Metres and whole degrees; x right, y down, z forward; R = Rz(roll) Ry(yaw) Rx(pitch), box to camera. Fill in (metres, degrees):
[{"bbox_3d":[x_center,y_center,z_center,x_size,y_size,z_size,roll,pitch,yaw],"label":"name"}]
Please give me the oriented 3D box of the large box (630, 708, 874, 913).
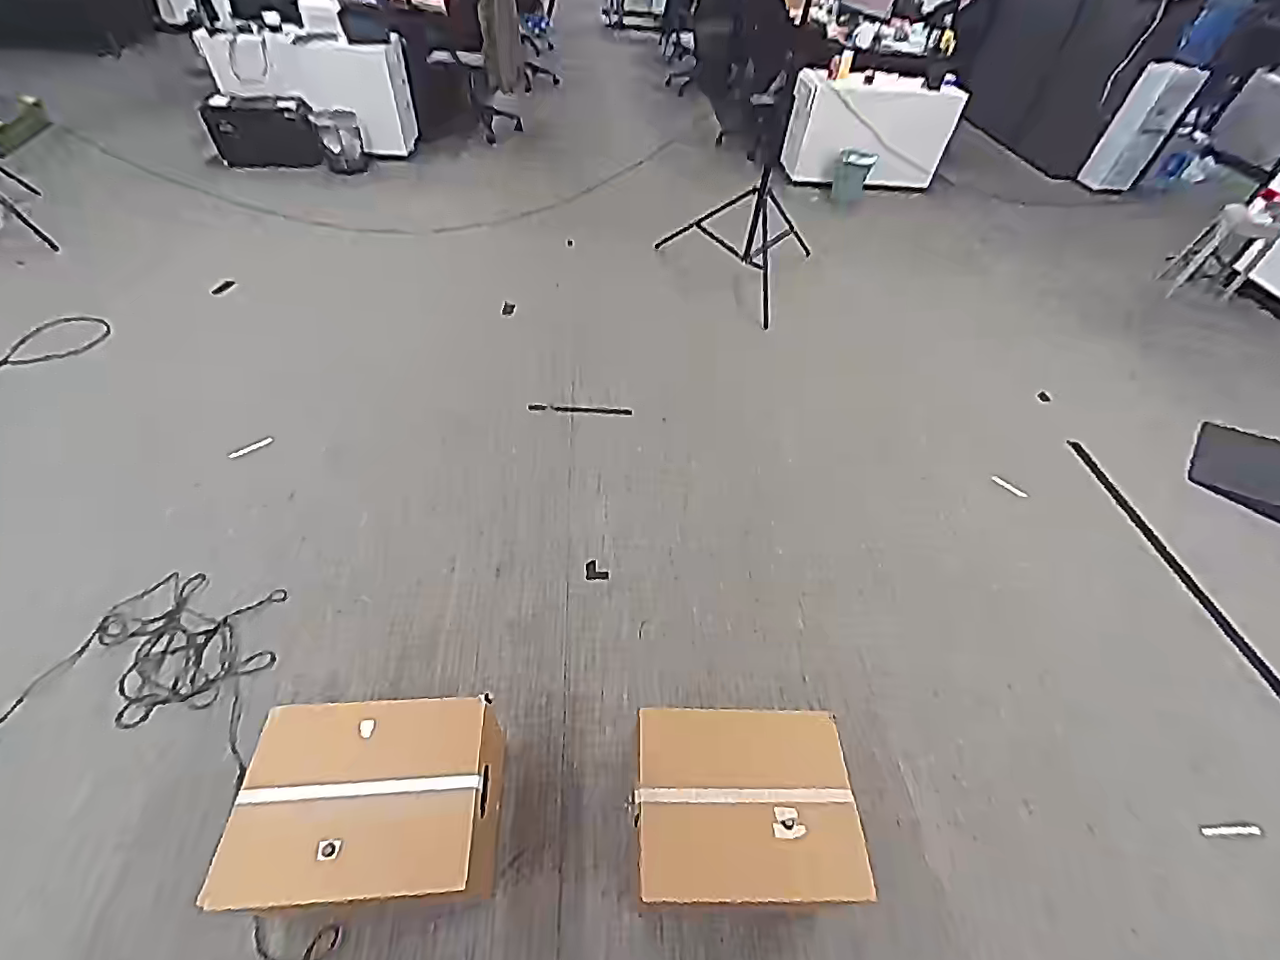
[{"bbox_3d":[0.191,0.686,1.121,0.408,0.320,0.320,3,48,-4],"label":"large box"}]
